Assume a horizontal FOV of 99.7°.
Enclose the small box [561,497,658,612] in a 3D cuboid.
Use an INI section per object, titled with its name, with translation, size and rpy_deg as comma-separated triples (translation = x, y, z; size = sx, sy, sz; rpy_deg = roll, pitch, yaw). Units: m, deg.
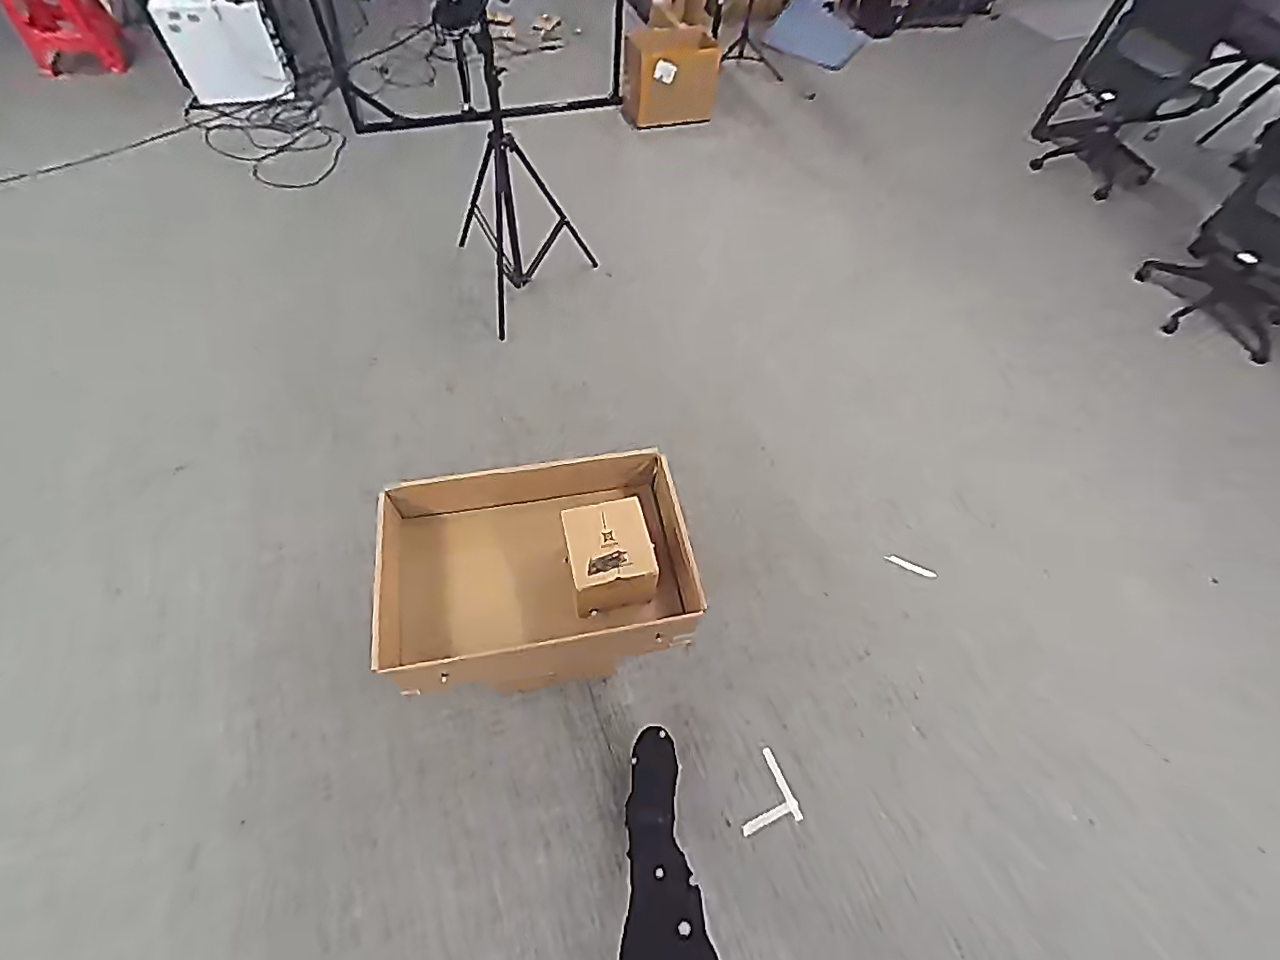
[small box]
translation = -0.065, 0.163, 1.127
size = 0.168, 0.176, 0.179
rpy_deg = -10, 58, -11
